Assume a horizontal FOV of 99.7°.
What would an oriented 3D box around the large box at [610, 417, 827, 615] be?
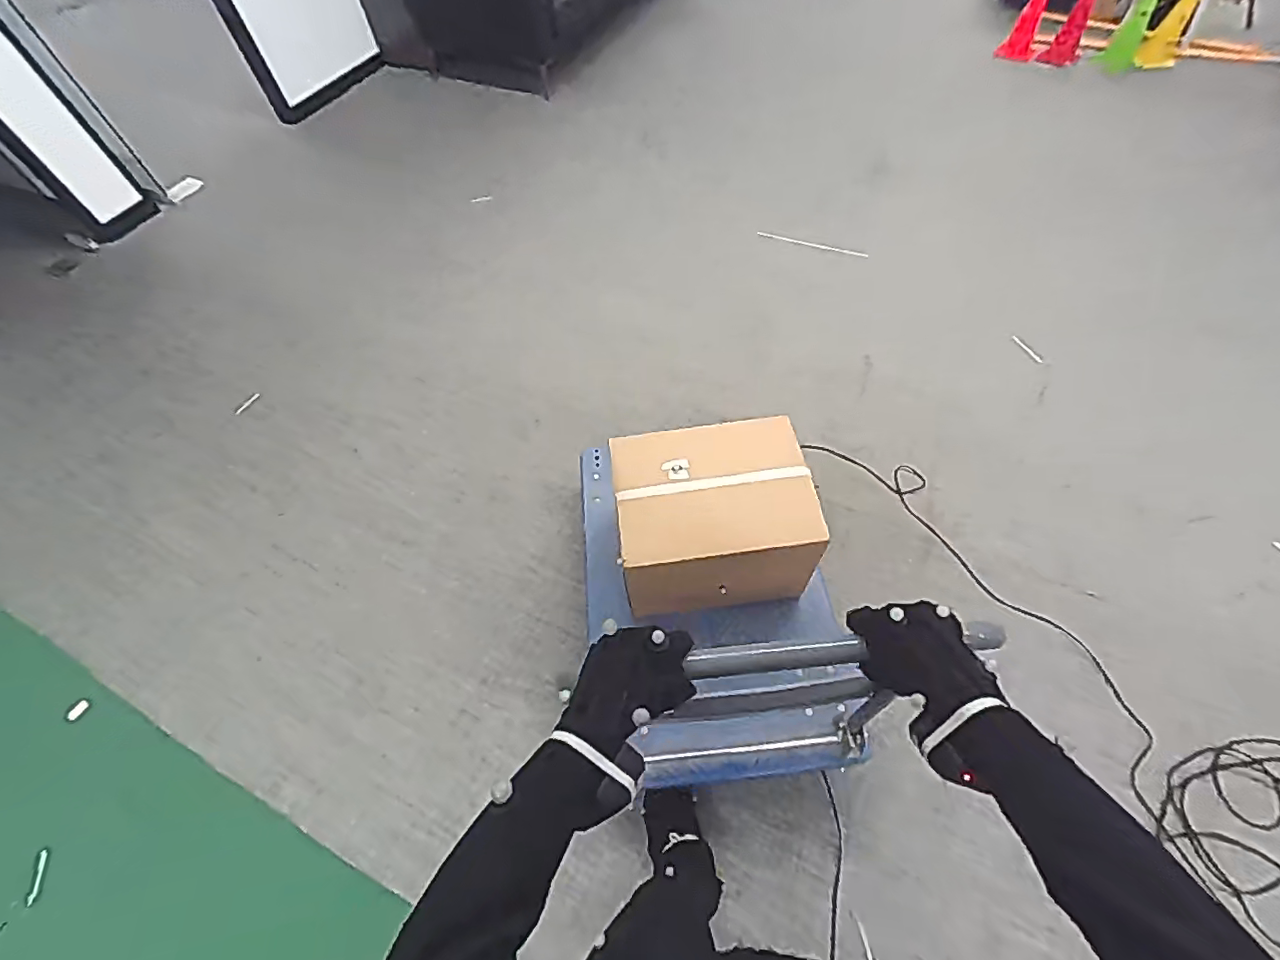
[{"bbox_3d":[0.161,0.094,1.249,0.408,0.320,0.320,-8,57,0],"label":"large box"}]
